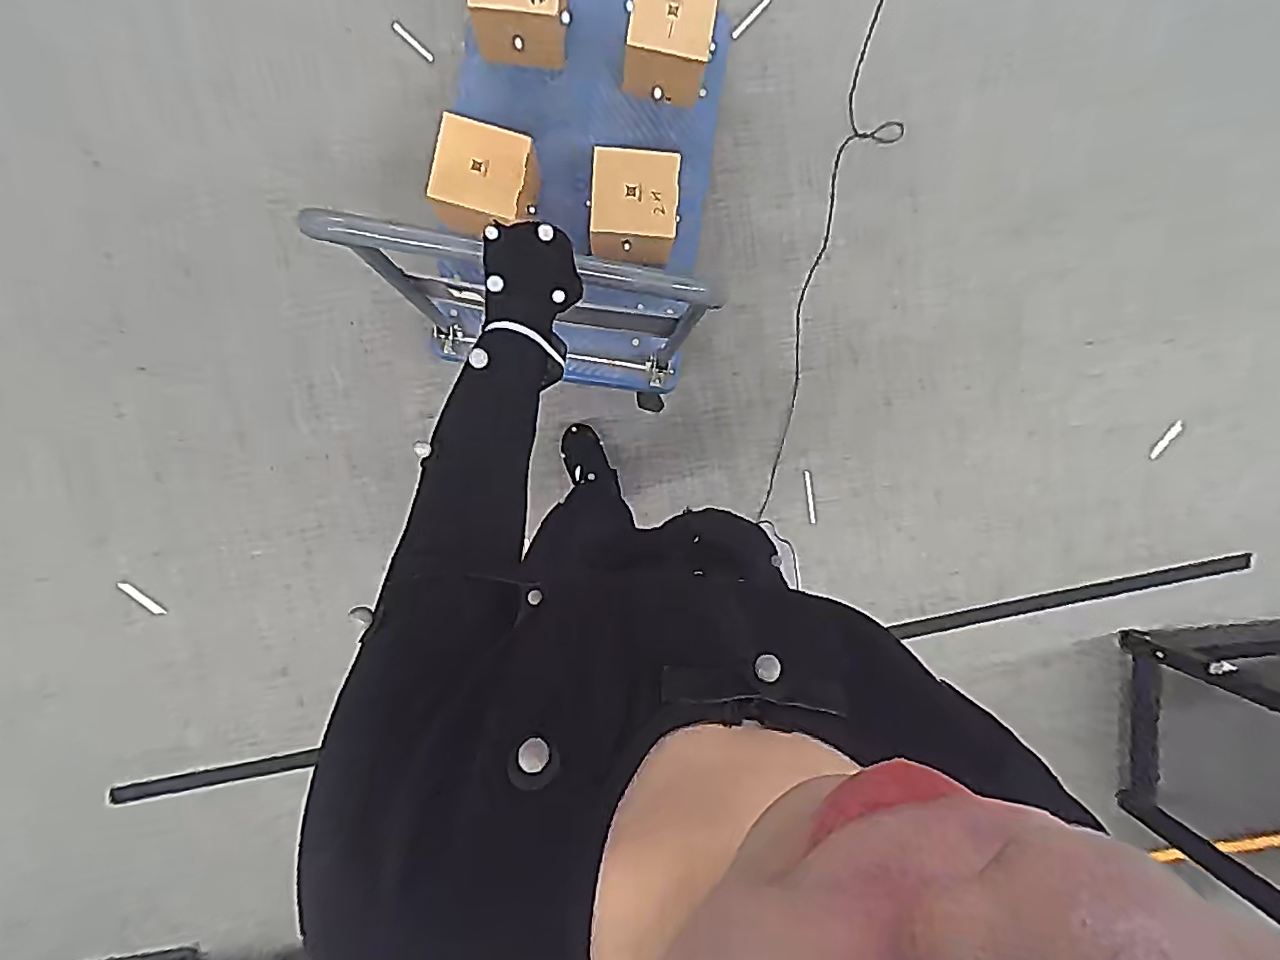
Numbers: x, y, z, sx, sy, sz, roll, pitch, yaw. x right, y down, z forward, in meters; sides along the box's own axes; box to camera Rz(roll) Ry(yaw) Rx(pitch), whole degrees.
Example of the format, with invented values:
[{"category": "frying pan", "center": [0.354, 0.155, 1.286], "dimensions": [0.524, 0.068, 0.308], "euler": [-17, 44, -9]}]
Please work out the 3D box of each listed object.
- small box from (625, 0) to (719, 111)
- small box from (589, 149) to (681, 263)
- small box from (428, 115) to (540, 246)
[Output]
[{"category": "small box", "center": [0.063, -0.927, 1.135], "dimensions": [0.168, 0.176, 0.179], "euler": [9, 95, -4]}, {"category": "small box", "center": [-0.014, -0.578, 1.161], "dimensions": [0.179, 0.176, 0.168], "euler": [3, 95, -4]}, {"category": "small box", "center": [-0.319, -0.616, 1.137], "dimensions": [0.179, 0.176, 0.168], "euler": [13, 94, -6]}]
